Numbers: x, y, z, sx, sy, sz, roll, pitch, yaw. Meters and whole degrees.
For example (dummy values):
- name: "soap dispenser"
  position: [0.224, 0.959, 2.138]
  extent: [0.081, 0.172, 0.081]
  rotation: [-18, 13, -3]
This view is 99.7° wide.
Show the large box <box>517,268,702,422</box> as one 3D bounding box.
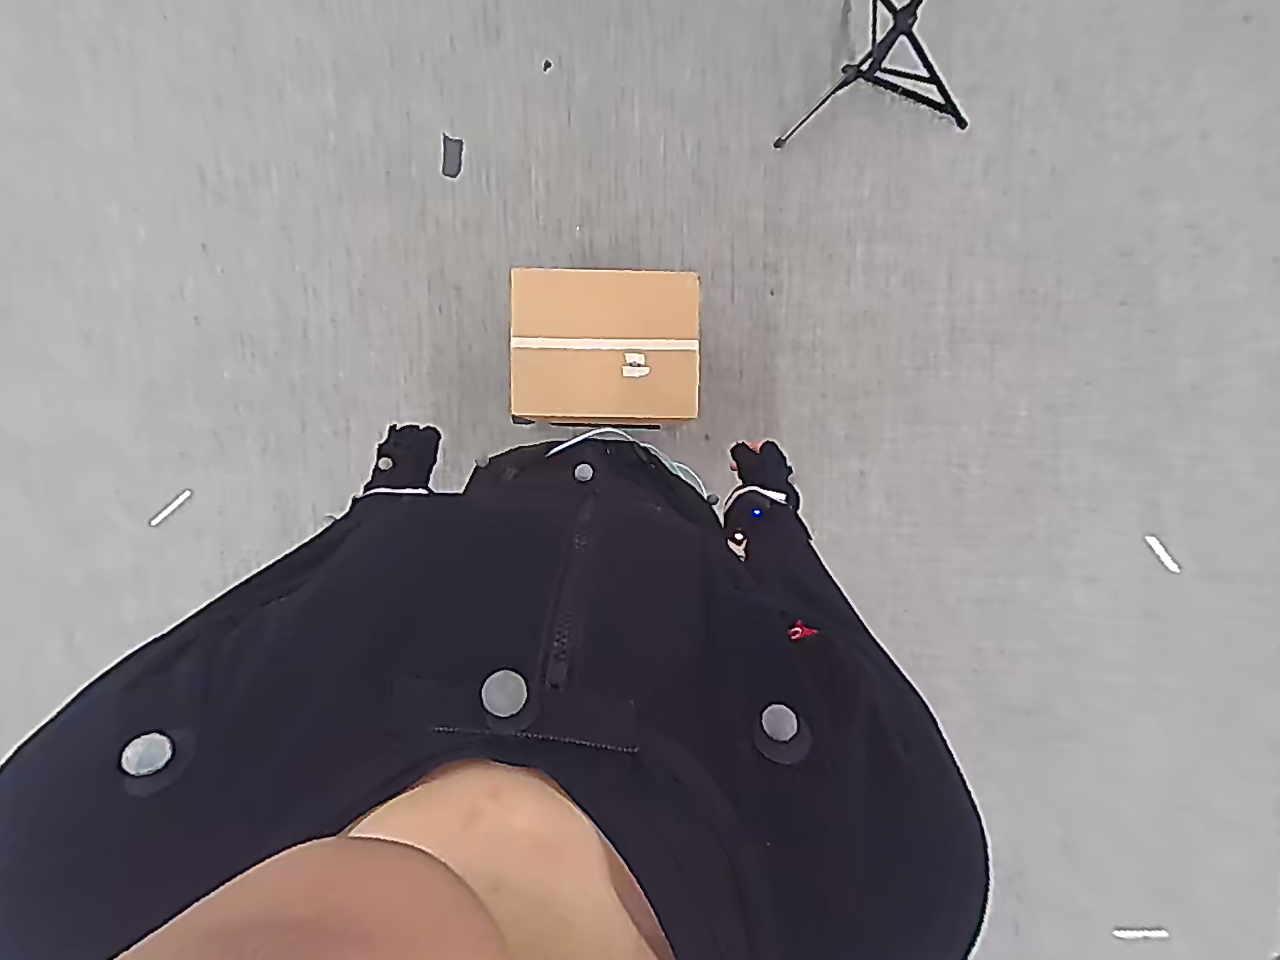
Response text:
- name: "large box"
  position: [-0.072, -0.305, 1.315]
  extent: [0.408, 0.320, 0.320]
  rotation: [1, 94, -2]
